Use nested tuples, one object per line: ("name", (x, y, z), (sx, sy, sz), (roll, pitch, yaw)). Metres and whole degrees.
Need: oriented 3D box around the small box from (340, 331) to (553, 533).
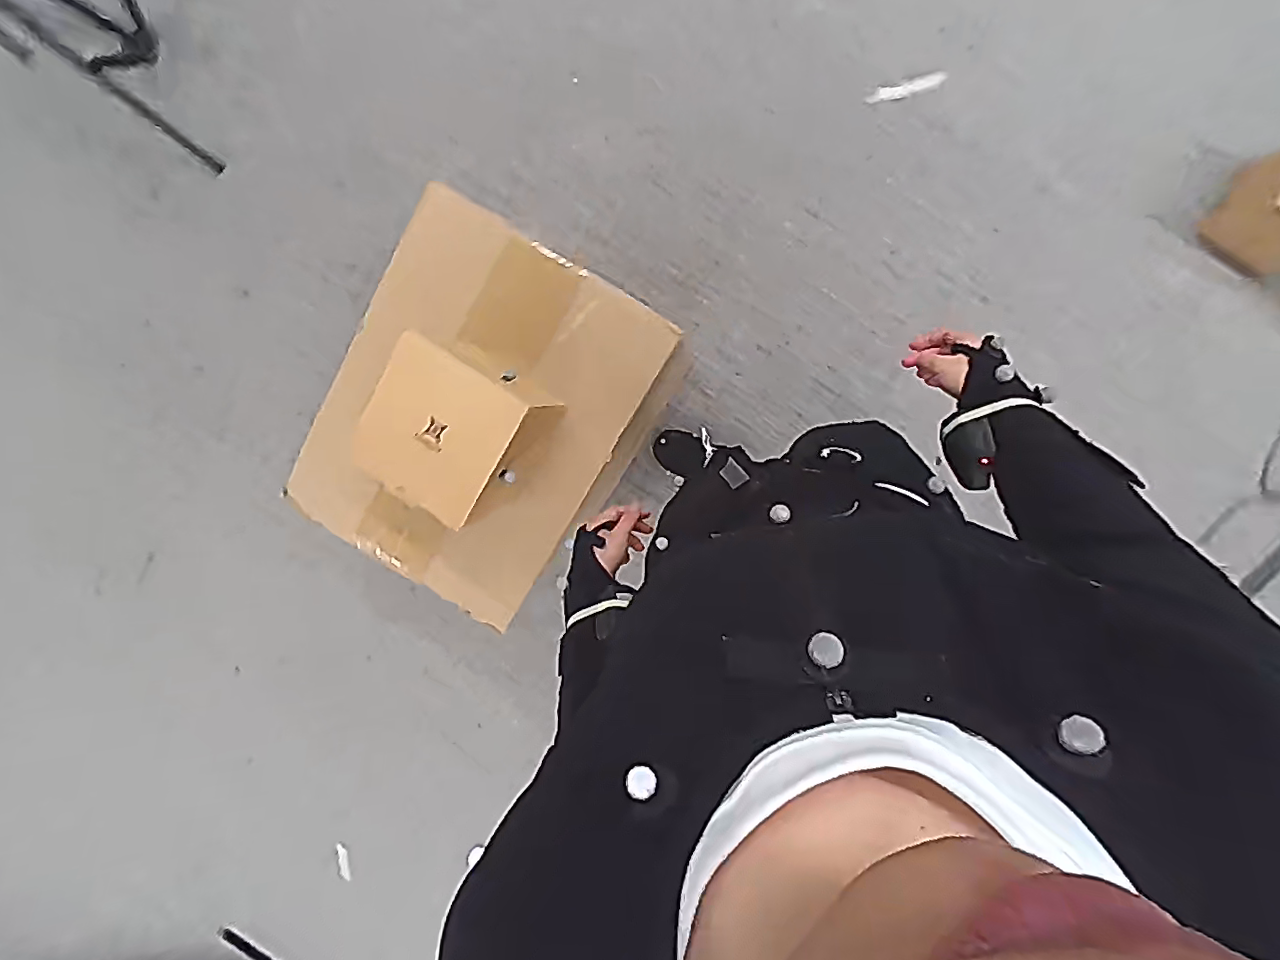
("small box", (-0.228, -0.065, 0.687), (0.168, 0.176, 0.179), (32, 102, 0))
